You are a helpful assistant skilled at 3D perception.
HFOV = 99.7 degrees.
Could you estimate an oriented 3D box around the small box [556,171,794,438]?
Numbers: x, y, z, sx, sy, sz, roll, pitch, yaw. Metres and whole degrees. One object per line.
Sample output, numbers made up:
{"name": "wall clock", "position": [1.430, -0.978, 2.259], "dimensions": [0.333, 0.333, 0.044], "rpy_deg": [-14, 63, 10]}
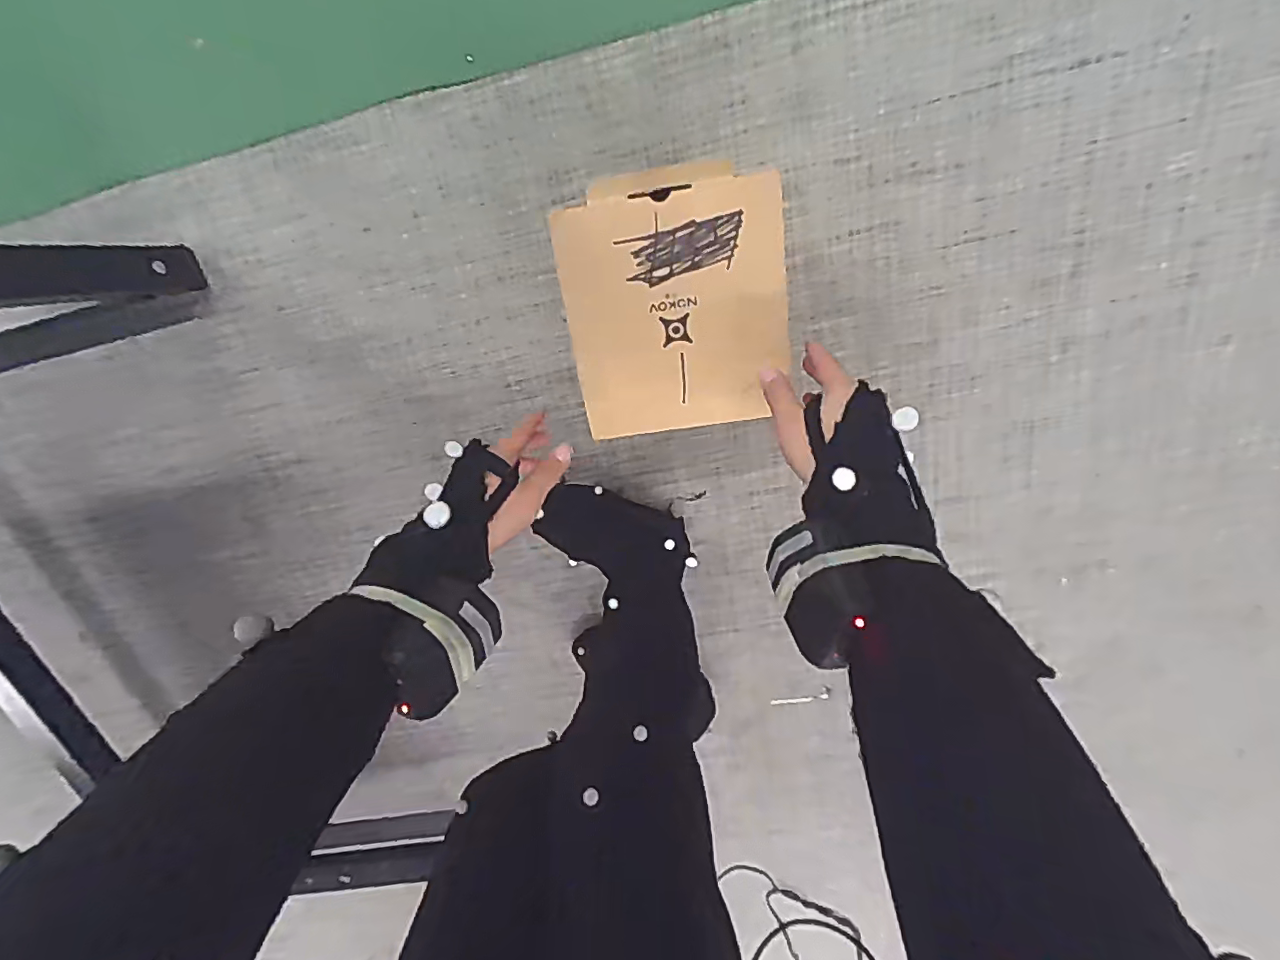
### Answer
{"name": "small box", "position": [0.035, -0.153, 0.482], "dimensions": [0.168, 0.176, 0.179], "rpy_deg": [-7, 112, 7]}
